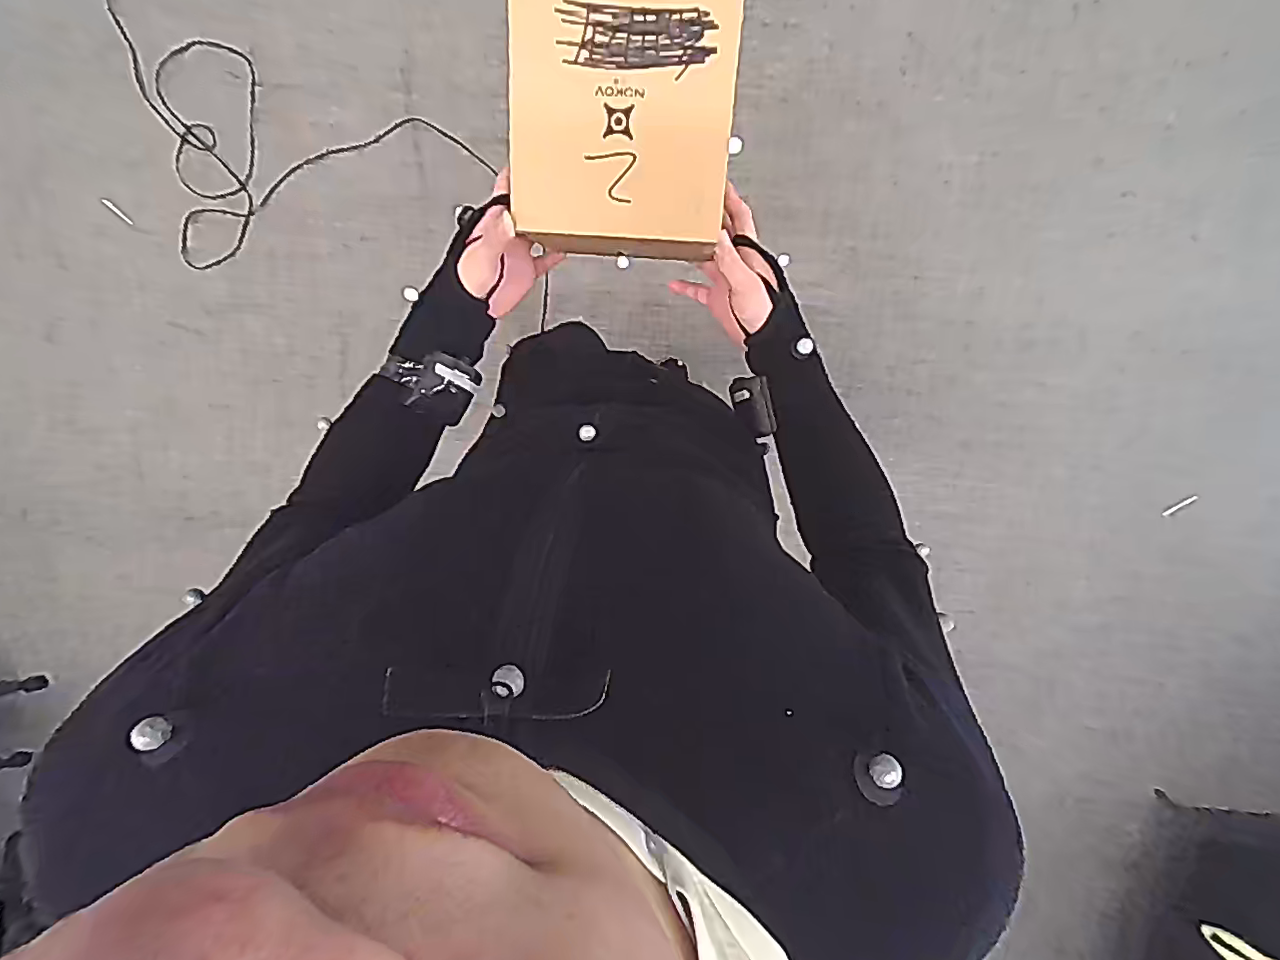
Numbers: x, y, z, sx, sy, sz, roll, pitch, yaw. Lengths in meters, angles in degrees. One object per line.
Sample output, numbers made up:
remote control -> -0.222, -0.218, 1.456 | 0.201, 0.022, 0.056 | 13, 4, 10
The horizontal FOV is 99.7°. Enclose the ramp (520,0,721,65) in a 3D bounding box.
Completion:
ramp -> -0.039, -1.500, 1.152 | 0.509, 0.206, 0.991 | 1, 105, 2
